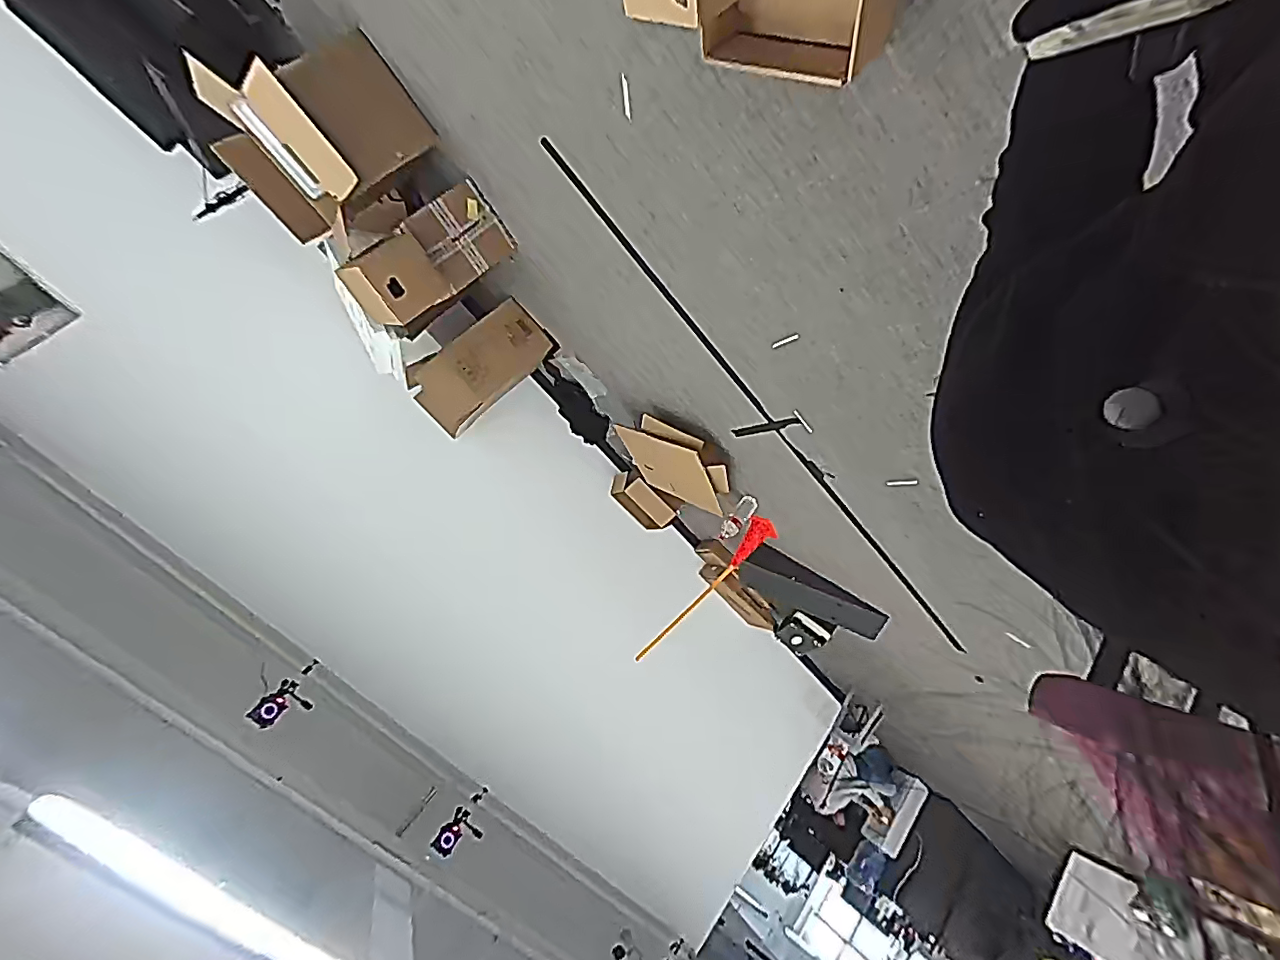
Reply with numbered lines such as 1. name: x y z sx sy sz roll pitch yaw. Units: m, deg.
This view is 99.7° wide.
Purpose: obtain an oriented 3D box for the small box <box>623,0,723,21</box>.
1. small box: 0.074 -0.924 0.915 0.179 0.176 0.168 34 161 26
